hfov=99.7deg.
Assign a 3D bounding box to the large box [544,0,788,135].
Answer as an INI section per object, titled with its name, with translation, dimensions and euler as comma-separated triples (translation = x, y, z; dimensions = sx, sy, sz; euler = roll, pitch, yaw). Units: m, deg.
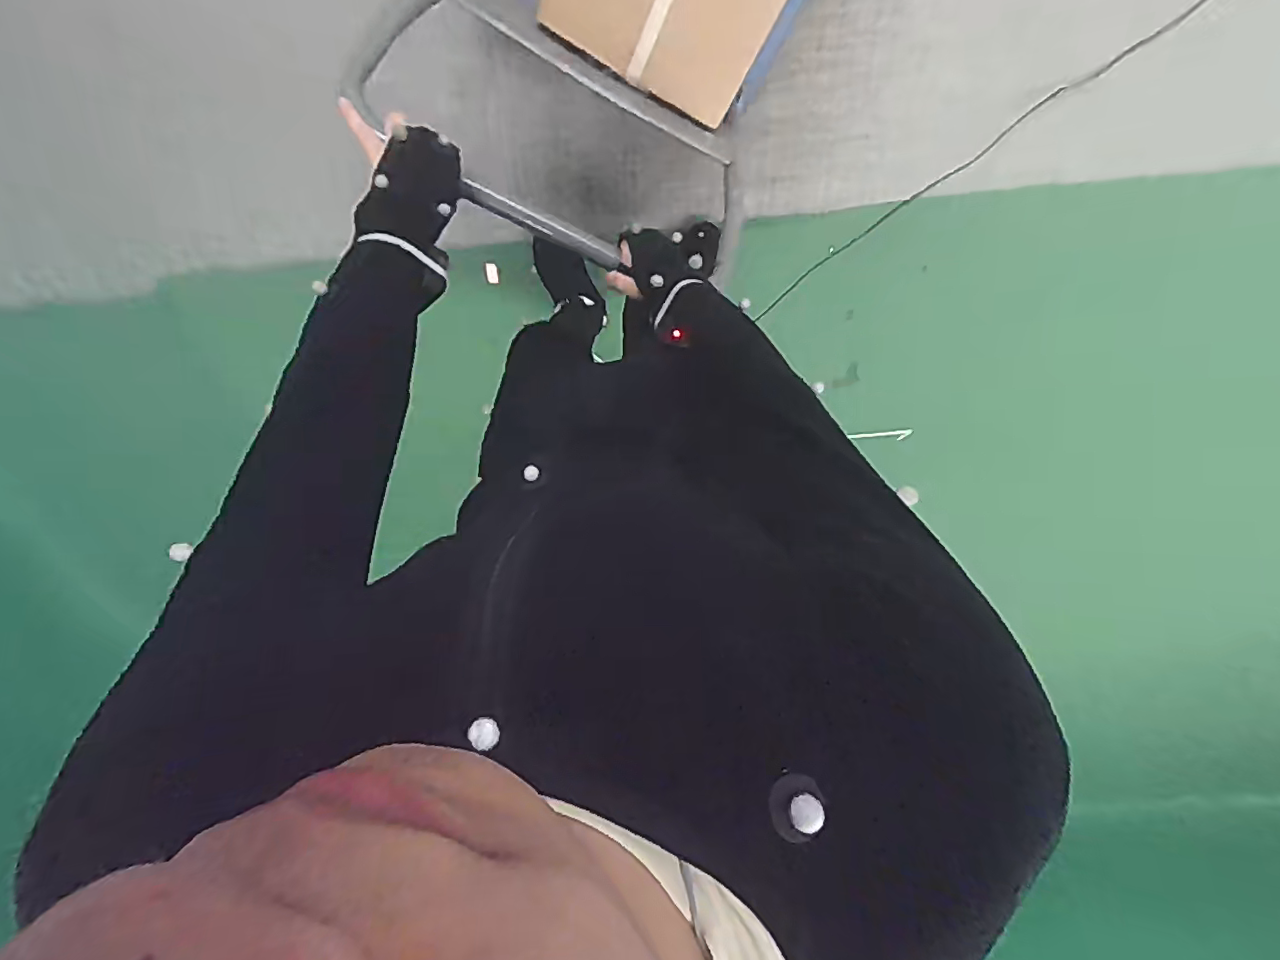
[large box]
translation = 0.086, -0.846, 0.824
dimensions = 0.320, 0.320, 0.408
euler = 21, 135, -18
